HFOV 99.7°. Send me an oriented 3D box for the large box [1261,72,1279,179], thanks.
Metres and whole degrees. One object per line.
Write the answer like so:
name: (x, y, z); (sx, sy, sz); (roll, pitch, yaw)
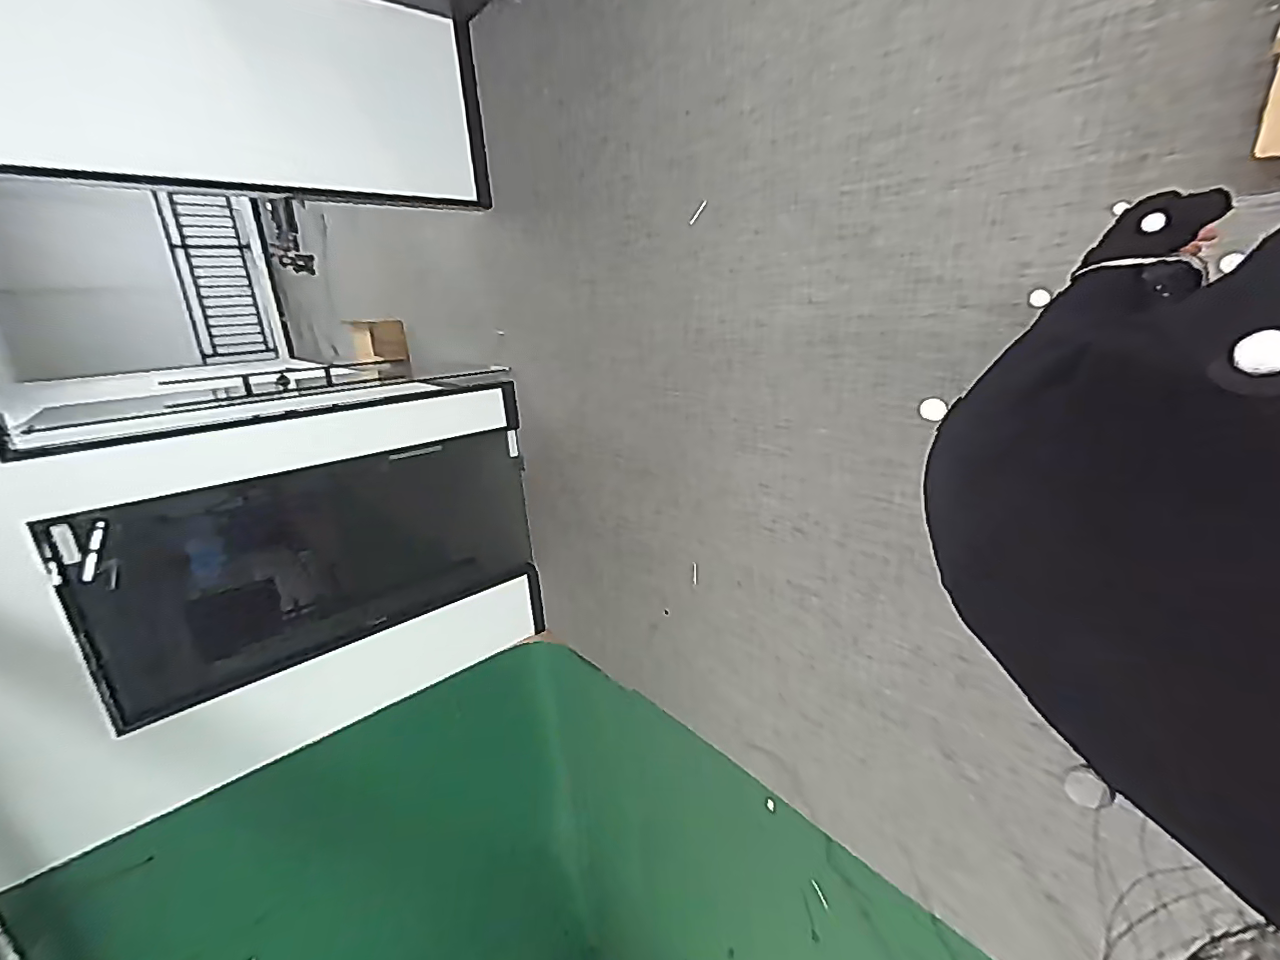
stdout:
large box: (1.096, -0.592, 0.655); (0.408, 0.320, 0.320); (18, 118, 47)
